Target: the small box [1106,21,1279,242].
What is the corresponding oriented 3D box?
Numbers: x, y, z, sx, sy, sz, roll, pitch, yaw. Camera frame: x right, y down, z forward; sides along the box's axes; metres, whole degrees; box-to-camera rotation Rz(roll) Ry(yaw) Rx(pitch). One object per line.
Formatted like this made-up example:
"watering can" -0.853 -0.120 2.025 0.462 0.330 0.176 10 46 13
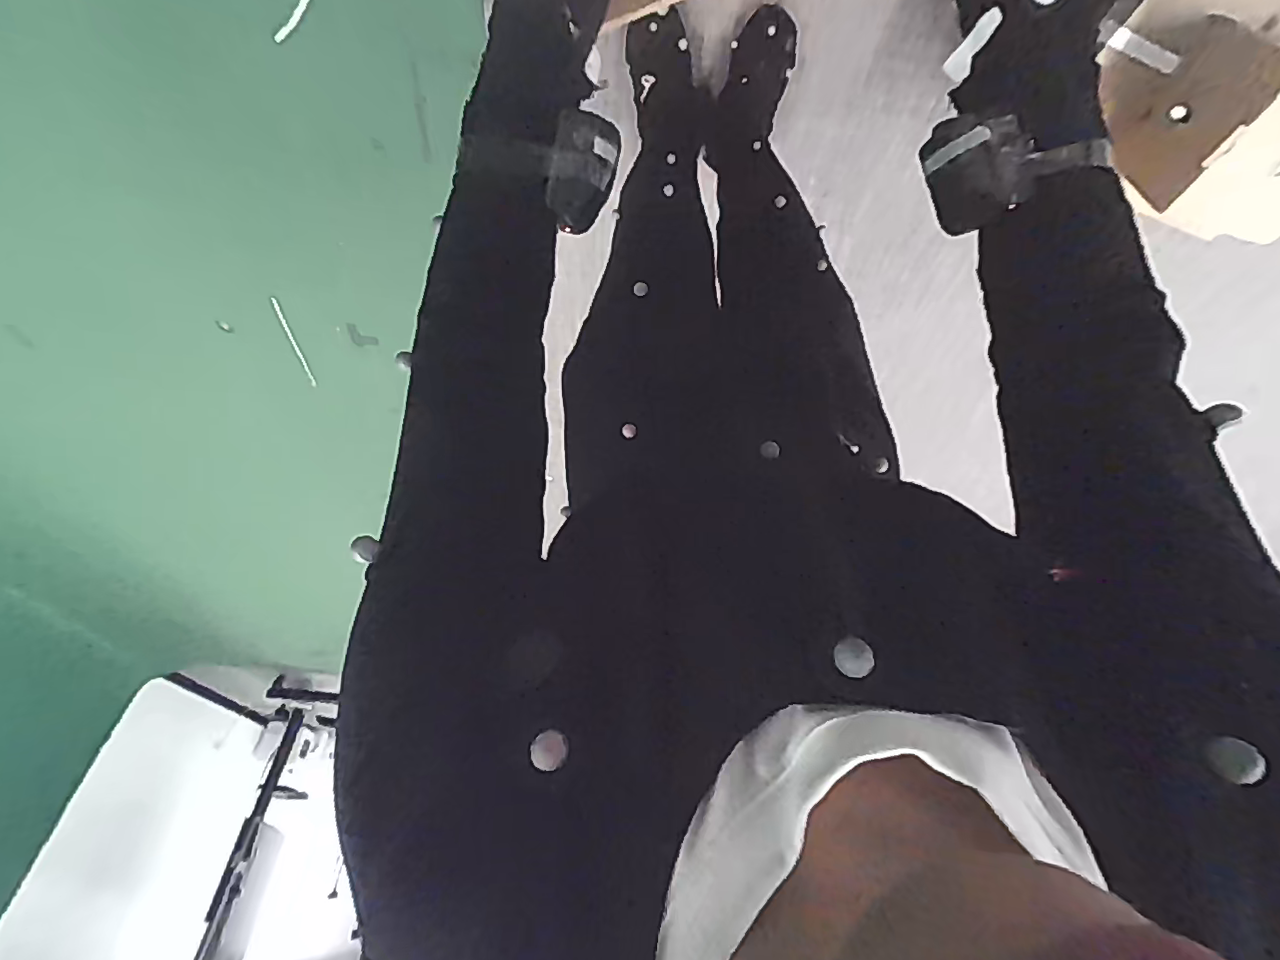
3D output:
"small box" 0.757 -0.439 0.683 0.179 0.176 0.168 10 144 -8
